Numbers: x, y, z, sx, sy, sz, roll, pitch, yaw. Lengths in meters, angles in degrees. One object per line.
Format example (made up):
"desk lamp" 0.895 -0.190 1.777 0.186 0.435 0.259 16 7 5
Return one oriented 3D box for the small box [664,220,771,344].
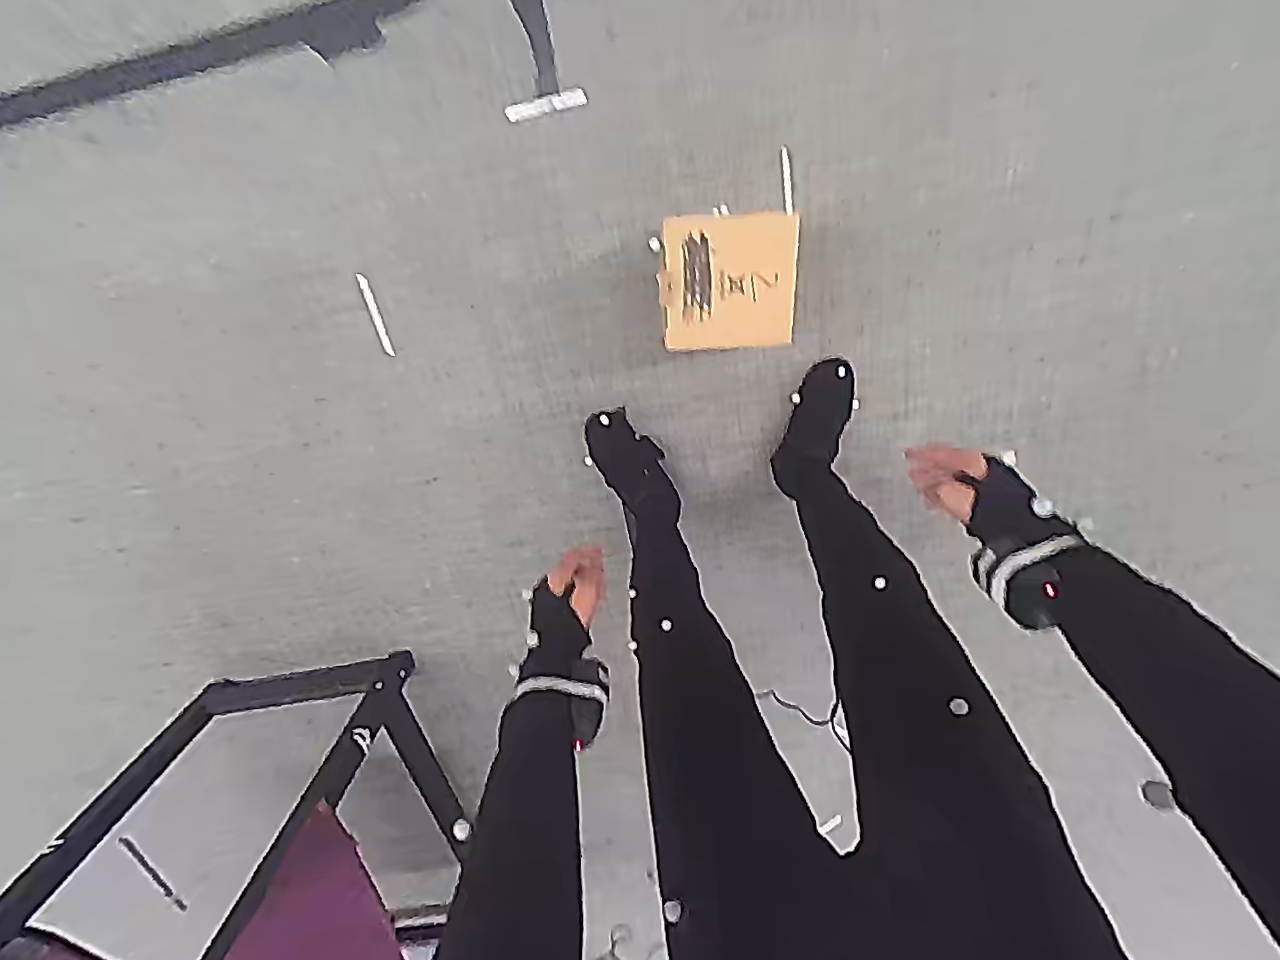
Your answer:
"small box" 0.131 -0.349 0.943 0.168 0.176 0.179 -6 114 4
